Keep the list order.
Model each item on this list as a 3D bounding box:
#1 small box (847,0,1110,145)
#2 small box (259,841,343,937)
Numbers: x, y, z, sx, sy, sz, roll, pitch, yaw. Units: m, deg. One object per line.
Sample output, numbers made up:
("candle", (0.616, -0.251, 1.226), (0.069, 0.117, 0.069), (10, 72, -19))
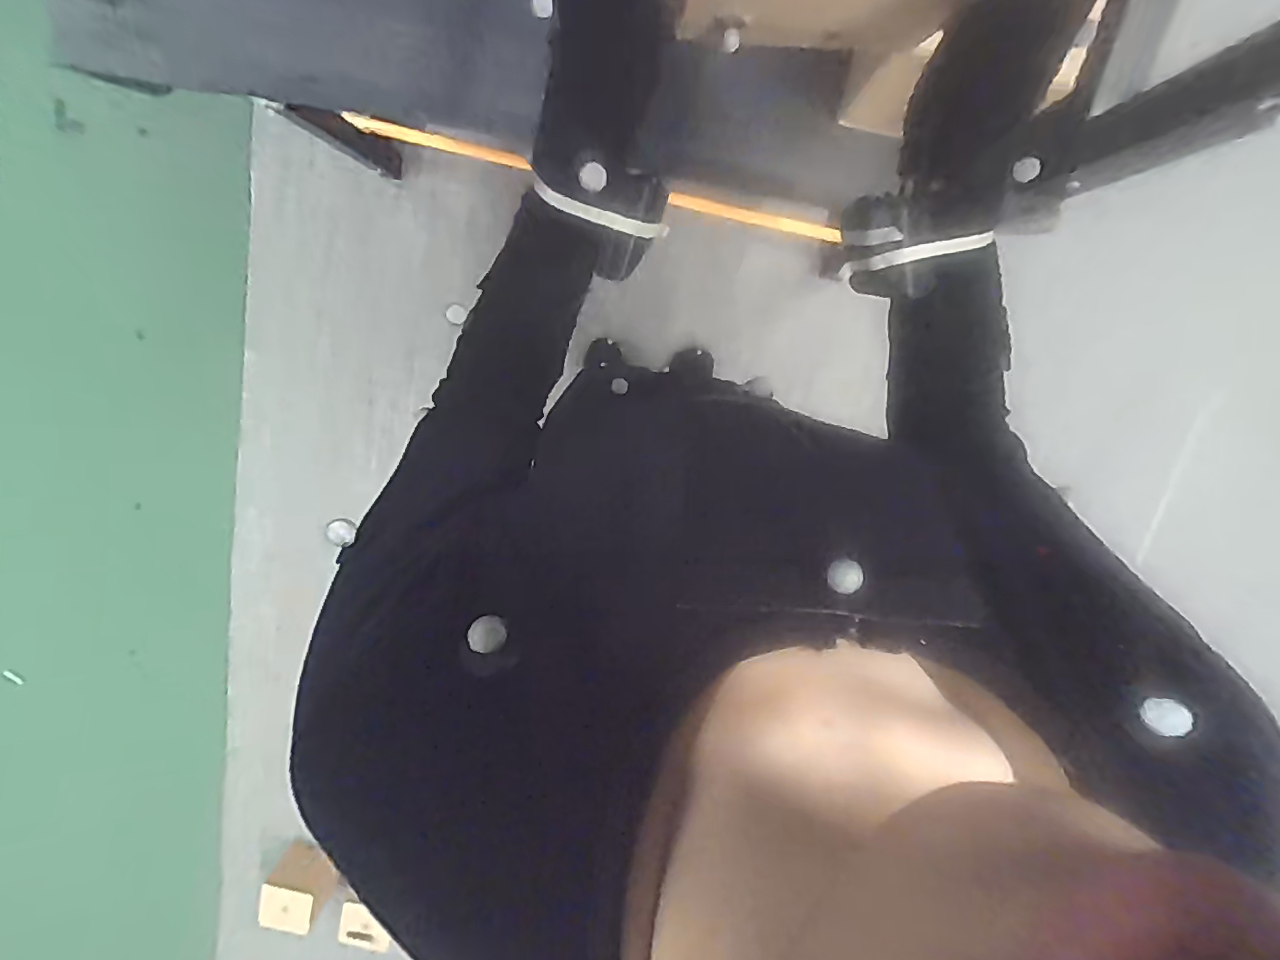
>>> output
("small box", (0.324, -0.465, 0.524), (0.168, 0.176, 0.179), (13, 104, 0))
("small box", (-1.116, 1.347, 1.791), (0.168, 0.176, 0.179), (14, 104, 0))
